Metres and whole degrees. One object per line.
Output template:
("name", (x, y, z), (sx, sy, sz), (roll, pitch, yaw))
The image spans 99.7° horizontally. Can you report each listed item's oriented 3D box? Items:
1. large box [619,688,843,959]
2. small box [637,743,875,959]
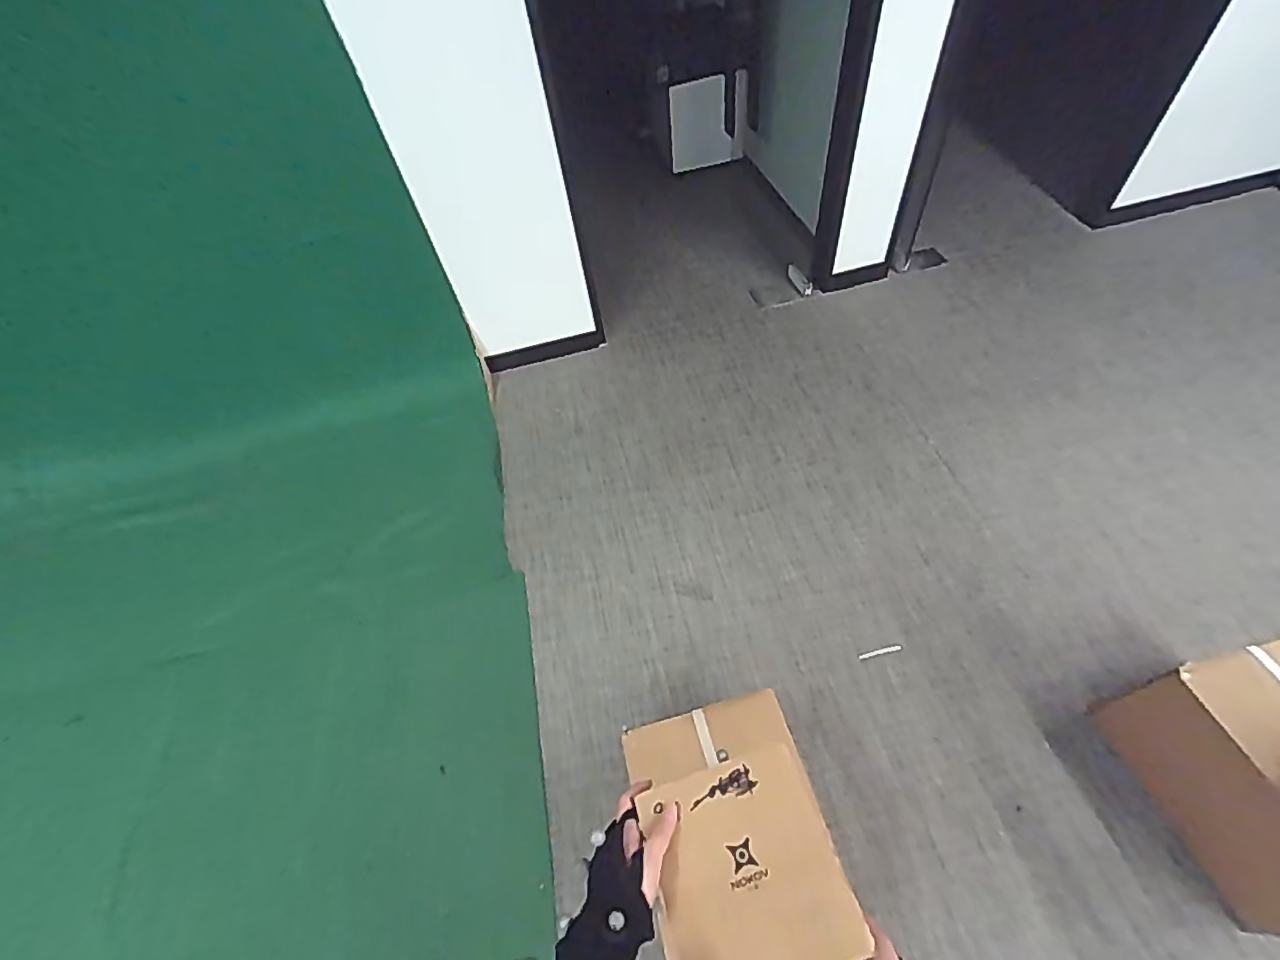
("large box", (0.174, 0.687, 1.053), (0.320, 0.320, 0.408), (-15, 52, -3))
("small box", (0.107, 0.401, 0.557), (0.168, 0.176, 0.179), (-17, 53, -5))
